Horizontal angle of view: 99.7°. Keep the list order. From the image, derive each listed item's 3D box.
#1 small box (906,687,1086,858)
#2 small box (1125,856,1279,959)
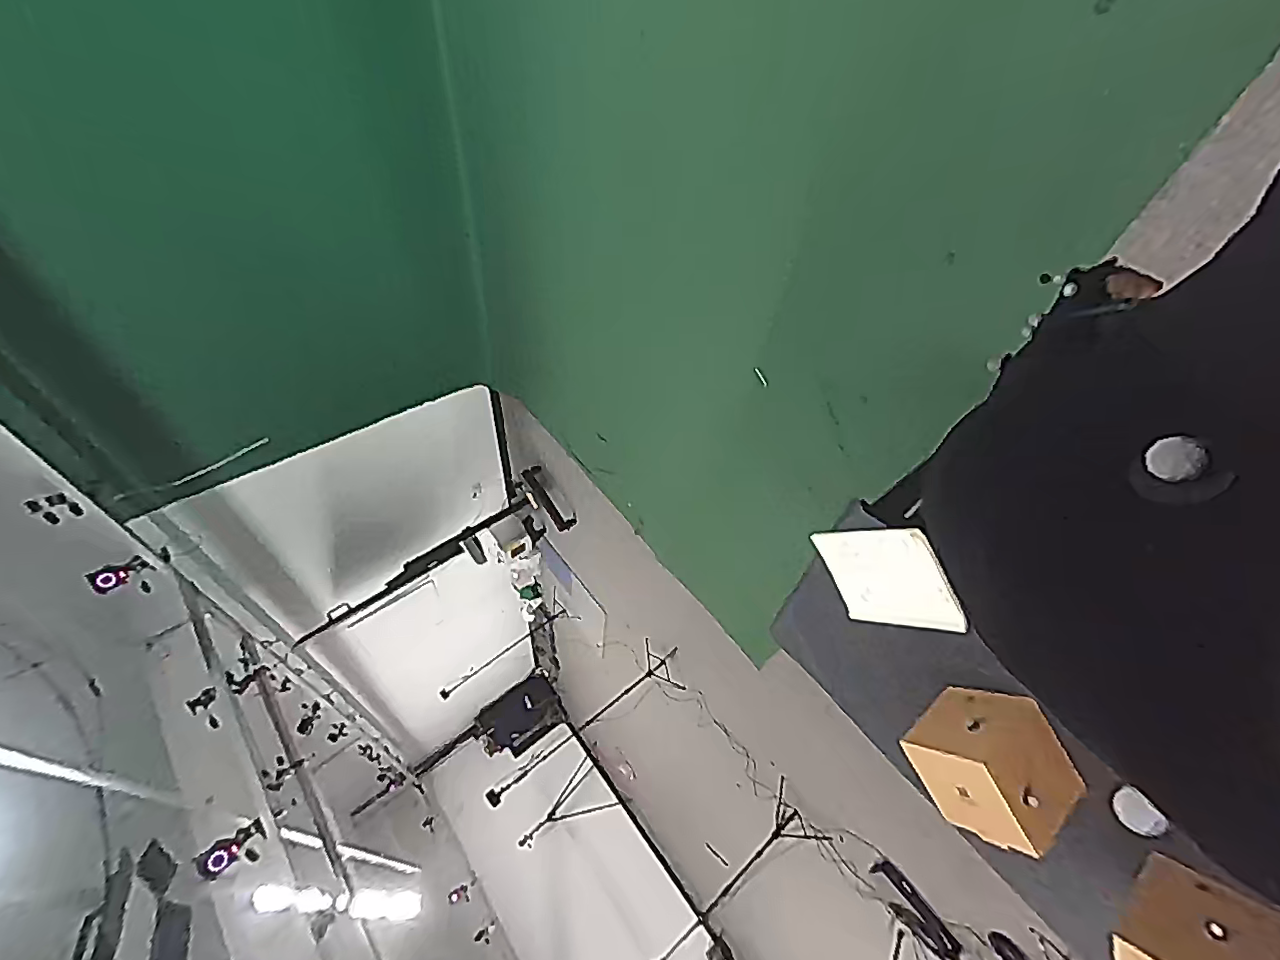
[{"bbox_3d":[0.610,0.484,0.930,0.179,0.176,0.168,59,154,0],"label":"small box"},{"bbox_3d":[0.828,0.696,0.768,0.168,0.176,0.179,9,125,58],"label":"small box"}]
